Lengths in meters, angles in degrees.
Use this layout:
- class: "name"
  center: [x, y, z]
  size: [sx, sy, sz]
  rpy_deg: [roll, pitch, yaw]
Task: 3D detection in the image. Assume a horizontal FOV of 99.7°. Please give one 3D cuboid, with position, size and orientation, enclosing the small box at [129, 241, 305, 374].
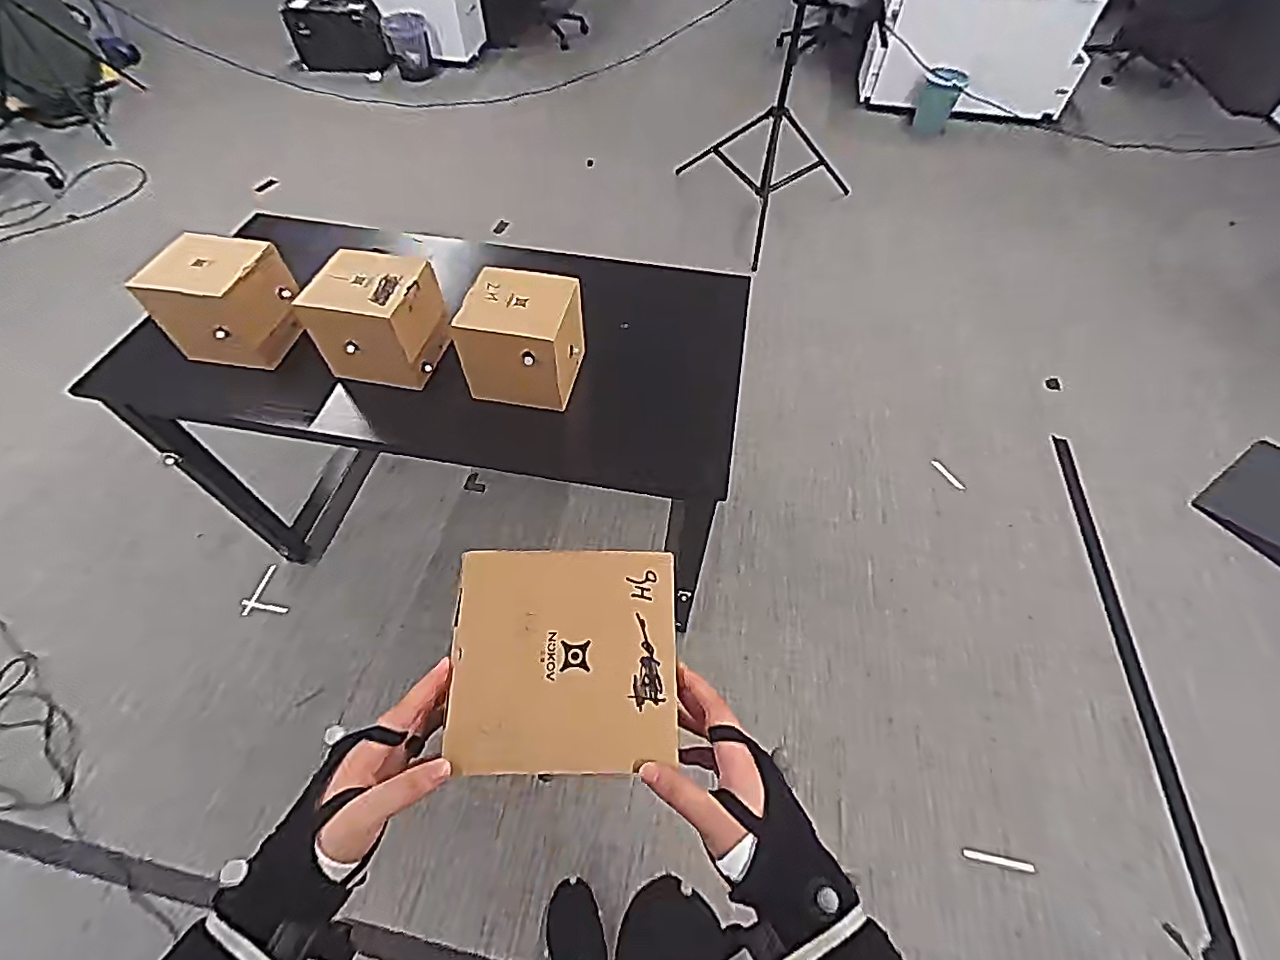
- class: "small box"
  center: [-0.766, -0.318, 1.014]
  size: [0.179, 0.176, 0.168]
  rpy_deg: [7, 54, 4]

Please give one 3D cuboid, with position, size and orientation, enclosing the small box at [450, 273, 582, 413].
- class: "small box"
  center: [-0.207, -0.240, 0.969]
  size: [0.179, 0.176, 0.168]
  rpy_deg: [8, 55, 5]

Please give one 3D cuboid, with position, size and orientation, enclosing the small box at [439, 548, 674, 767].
- class: "small box"
  center: [-0.062, 0.165, 0.499]
  size: [0.179, 0.176, 0.168]
  rpy_deg: [1, 68, -2]

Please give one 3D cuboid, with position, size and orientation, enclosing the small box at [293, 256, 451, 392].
- class: "small box"
  center: [-0.474, -0.281, 0.992]
  size: [0.179, 0.176, 0.168]
  rpy_deg: [9, 55, 6]
